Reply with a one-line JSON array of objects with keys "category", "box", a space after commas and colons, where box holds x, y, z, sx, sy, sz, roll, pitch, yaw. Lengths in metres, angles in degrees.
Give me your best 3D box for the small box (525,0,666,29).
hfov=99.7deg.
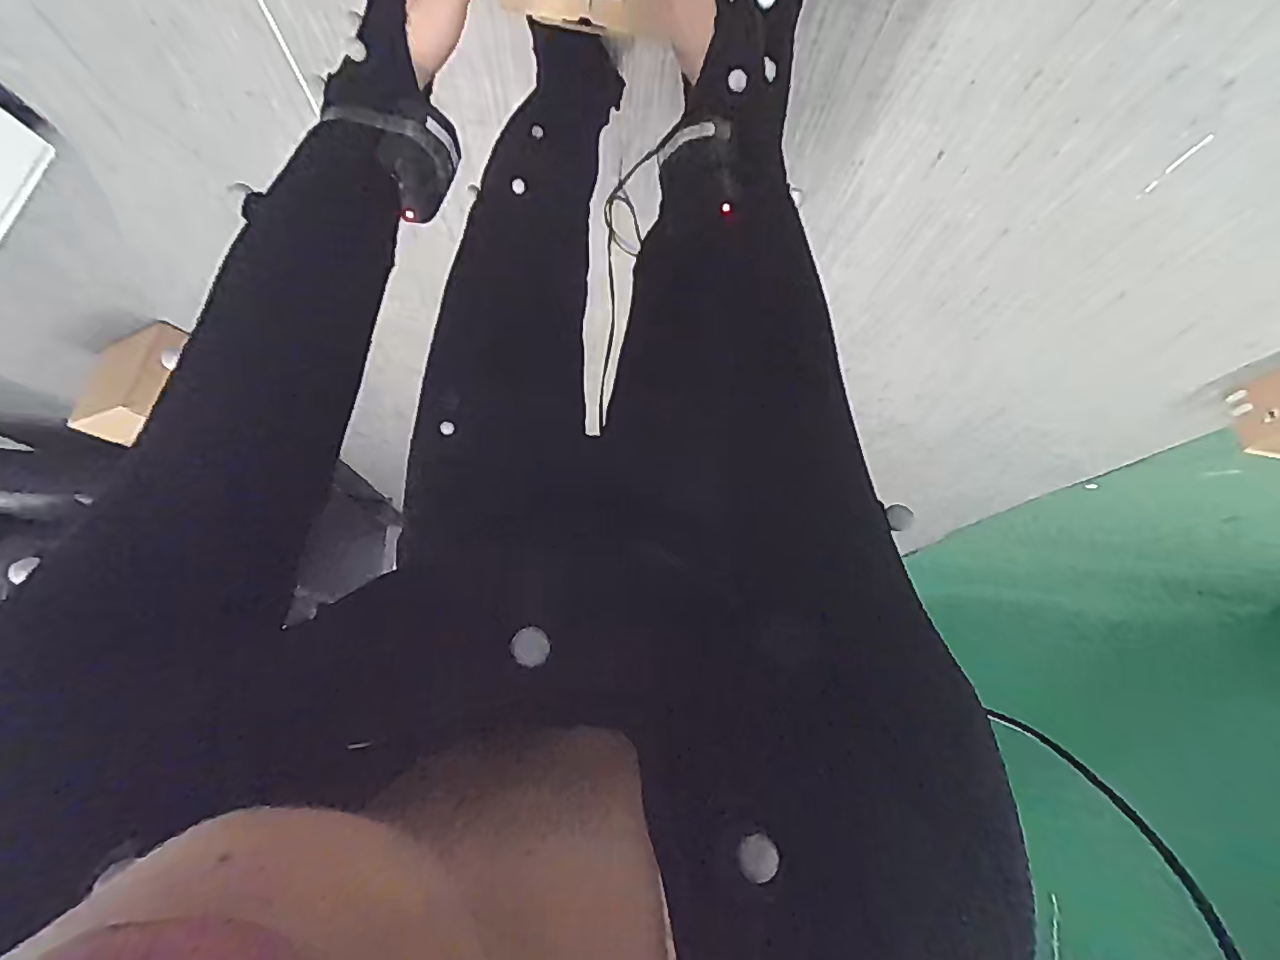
[{"category": "small box", "box": [-0.038, -0.552, 0.466, 0.168, 0.176, 0.179, 7, 159, -5]}]
